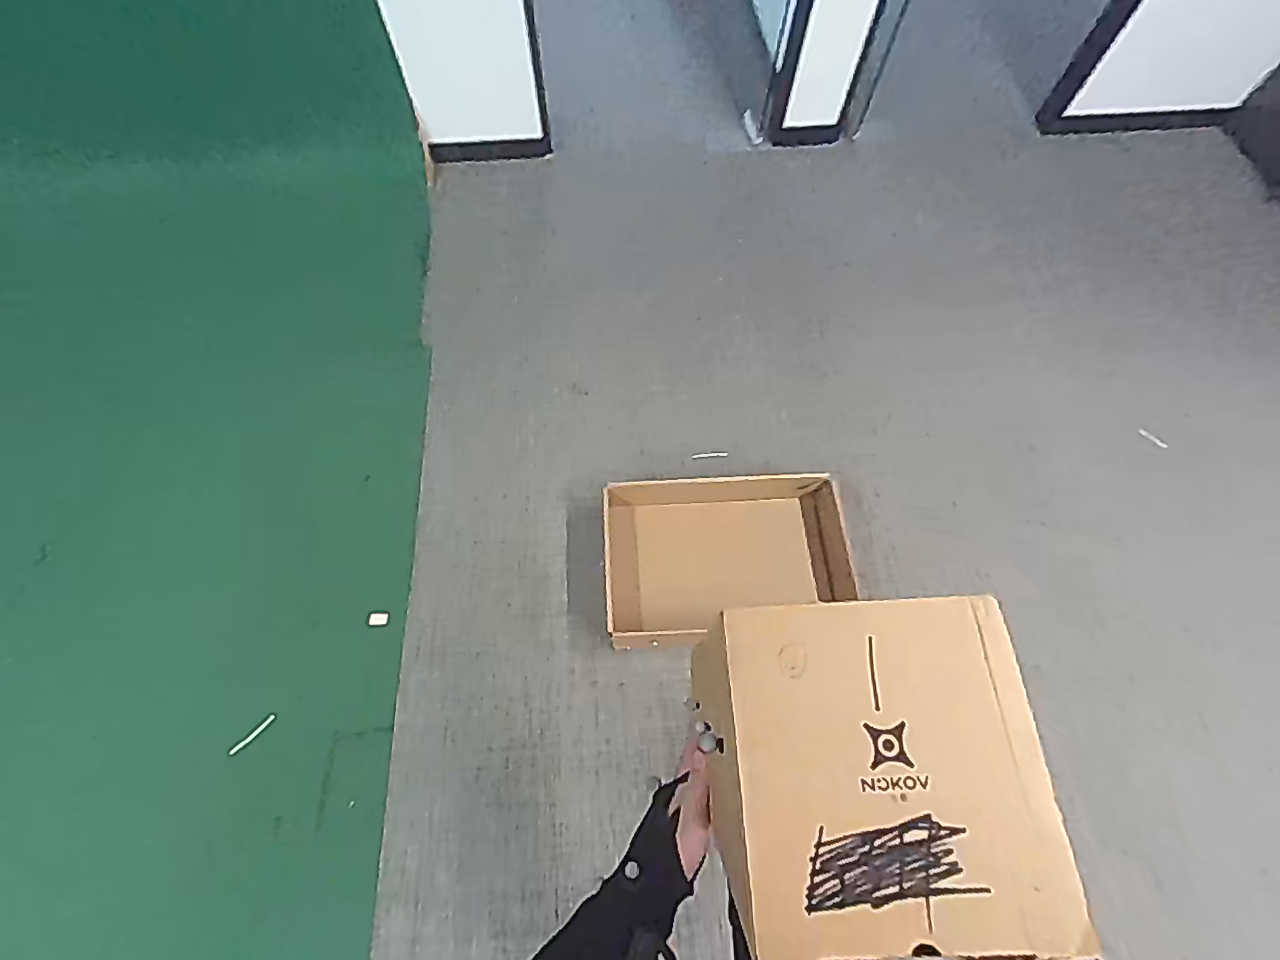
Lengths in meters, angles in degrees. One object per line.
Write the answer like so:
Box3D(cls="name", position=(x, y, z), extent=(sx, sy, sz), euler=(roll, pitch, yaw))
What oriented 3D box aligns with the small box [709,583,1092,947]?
Box3D(cls="small box", position=(0.140, 0.174, 0.369), extent=(0.168, 0.176, 0.179), euler=(-3, 68, 1))
